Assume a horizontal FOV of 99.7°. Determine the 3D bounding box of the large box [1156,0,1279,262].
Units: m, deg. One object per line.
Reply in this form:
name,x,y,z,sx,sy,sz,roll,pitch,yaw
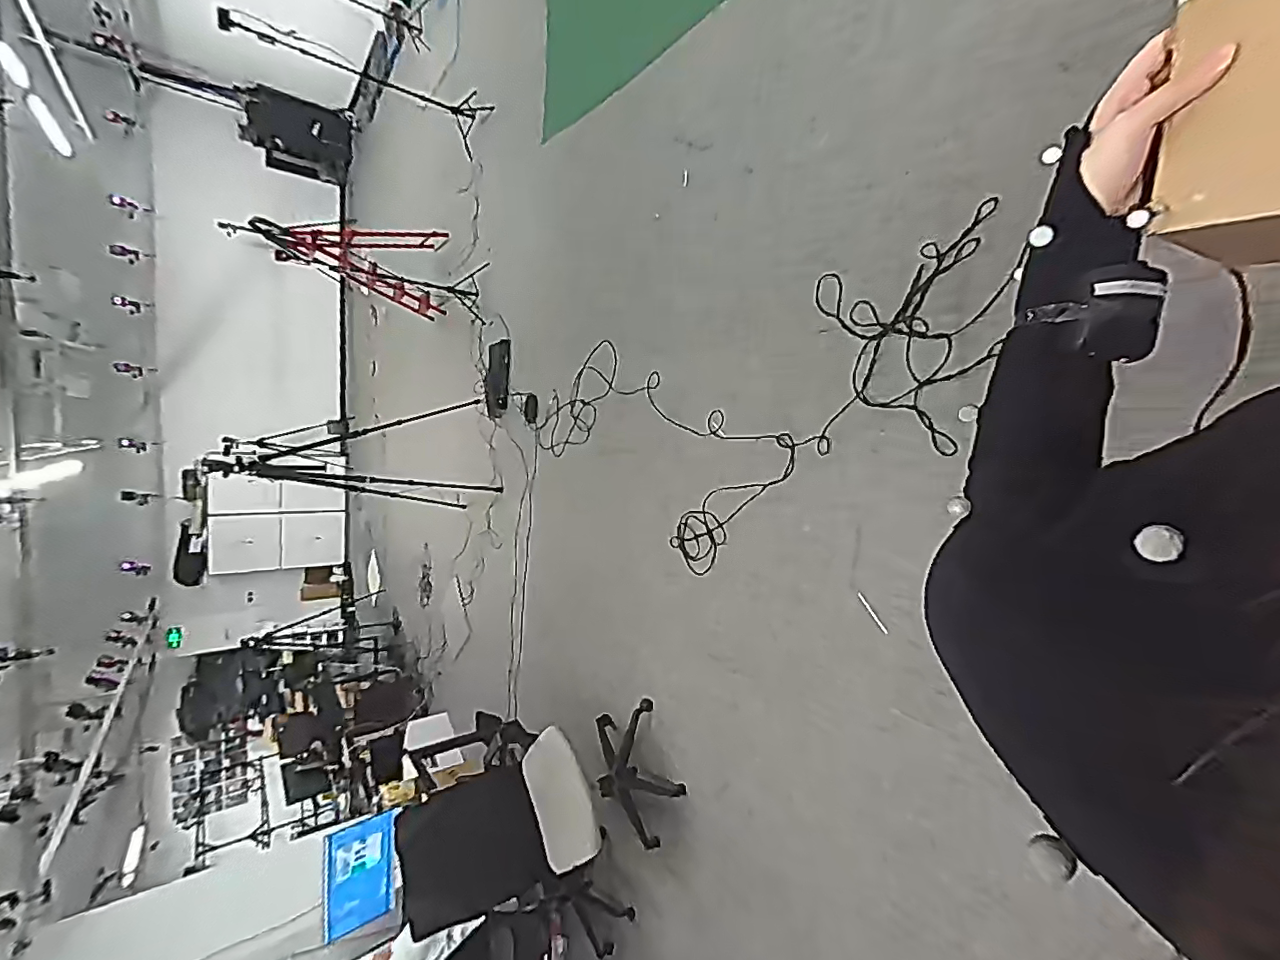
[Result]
large box,0.620,-0.329,0.302,0.408,0.320,0.320,14,109,55
